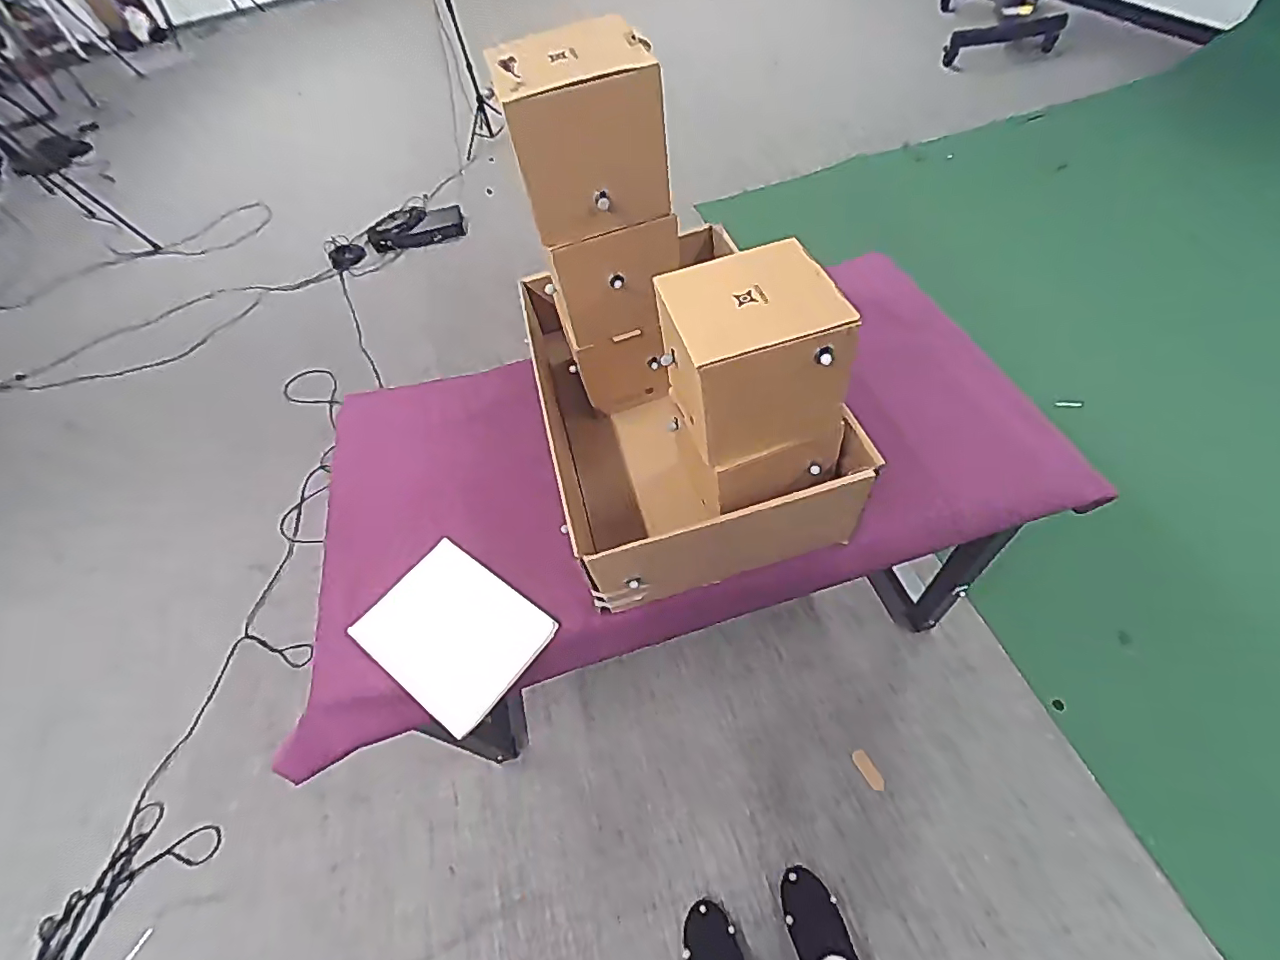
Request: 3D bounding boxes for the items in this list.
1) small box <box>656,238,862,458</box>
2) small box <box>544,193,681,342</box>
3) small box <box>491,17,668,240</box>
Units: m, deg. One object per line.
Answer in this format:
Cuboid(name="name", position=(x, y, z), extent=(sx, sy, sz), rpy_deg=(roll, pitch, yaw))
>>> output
Cuboid(name="small box", position=(0.131, -0.150, 0.641), extent=(0.179, 0.176, 0.168), rpy_deg=(-16, 53, -3))
Cuboid(name="small box", position=(-0.045, -0.337, 0.806), extent=(0.179, 0.176, 0.168), rpy_deg=(-19, 55, -4))
Cuboid(name="small box", position=(-0.068, -0.431, 0.673), extent=(0.179, 0.176, 0.168), rpy_deg=(-16, 55, -4))
